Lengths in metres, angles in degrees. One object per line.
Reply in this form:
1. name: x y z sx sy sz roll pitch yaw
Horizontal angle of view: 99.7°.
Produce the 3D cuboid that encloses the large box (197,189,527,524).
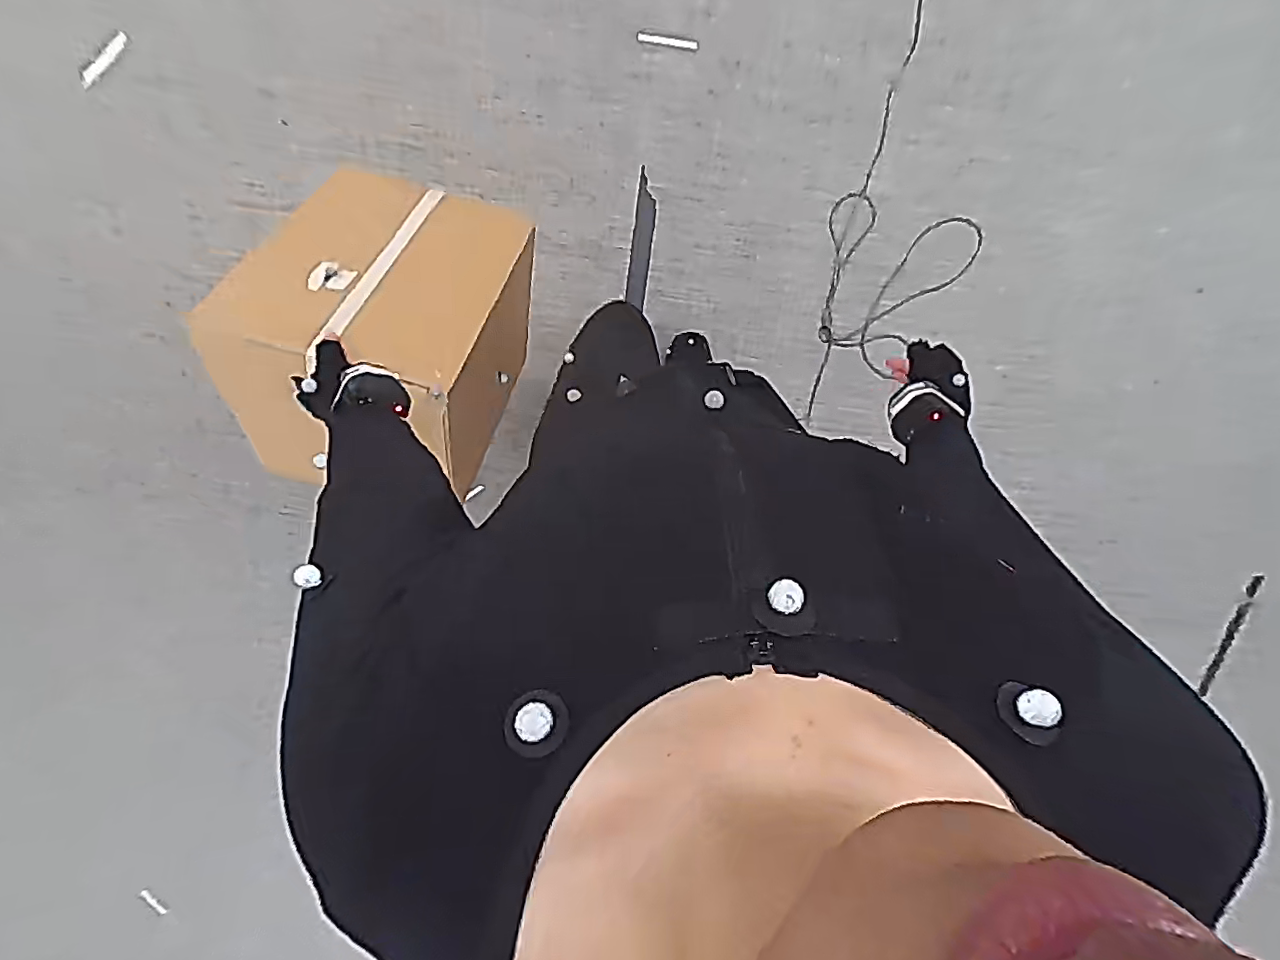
1. large box: -0.393 -0.199 0.896 0.320 0.408 0.320 14 143 -4
